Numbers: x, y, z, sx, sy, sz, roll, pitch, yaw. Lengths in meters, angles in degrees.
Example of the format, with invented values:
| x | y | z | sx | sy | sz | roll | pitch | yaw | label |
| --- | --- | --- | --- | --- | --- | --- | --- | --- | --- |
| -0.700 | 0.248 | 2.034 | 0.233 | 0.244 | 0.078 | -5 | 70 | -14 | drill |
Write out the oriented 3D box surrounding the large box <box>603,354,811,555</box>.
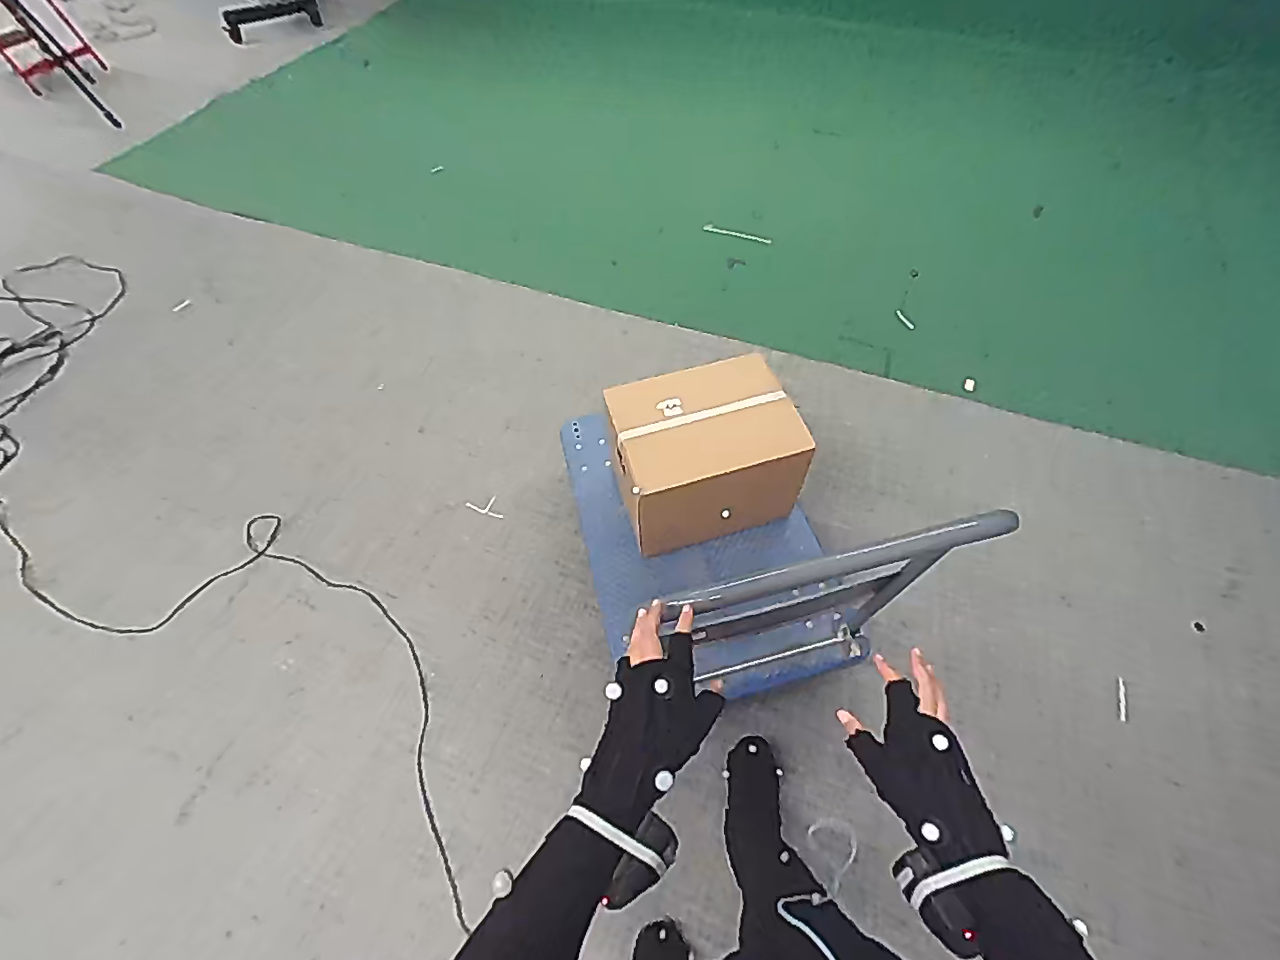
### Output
| x | y | z | sx | sy | sz | roll | pitch | yaw | label |
| --- | --- | --- | --- | --- | --- | --- | --- | --- | --- |
| 0.152 | -0.057 | 1.358 | 0.408 | 0.320 | 0.320 | -16 | 57 | -7 | large box |
